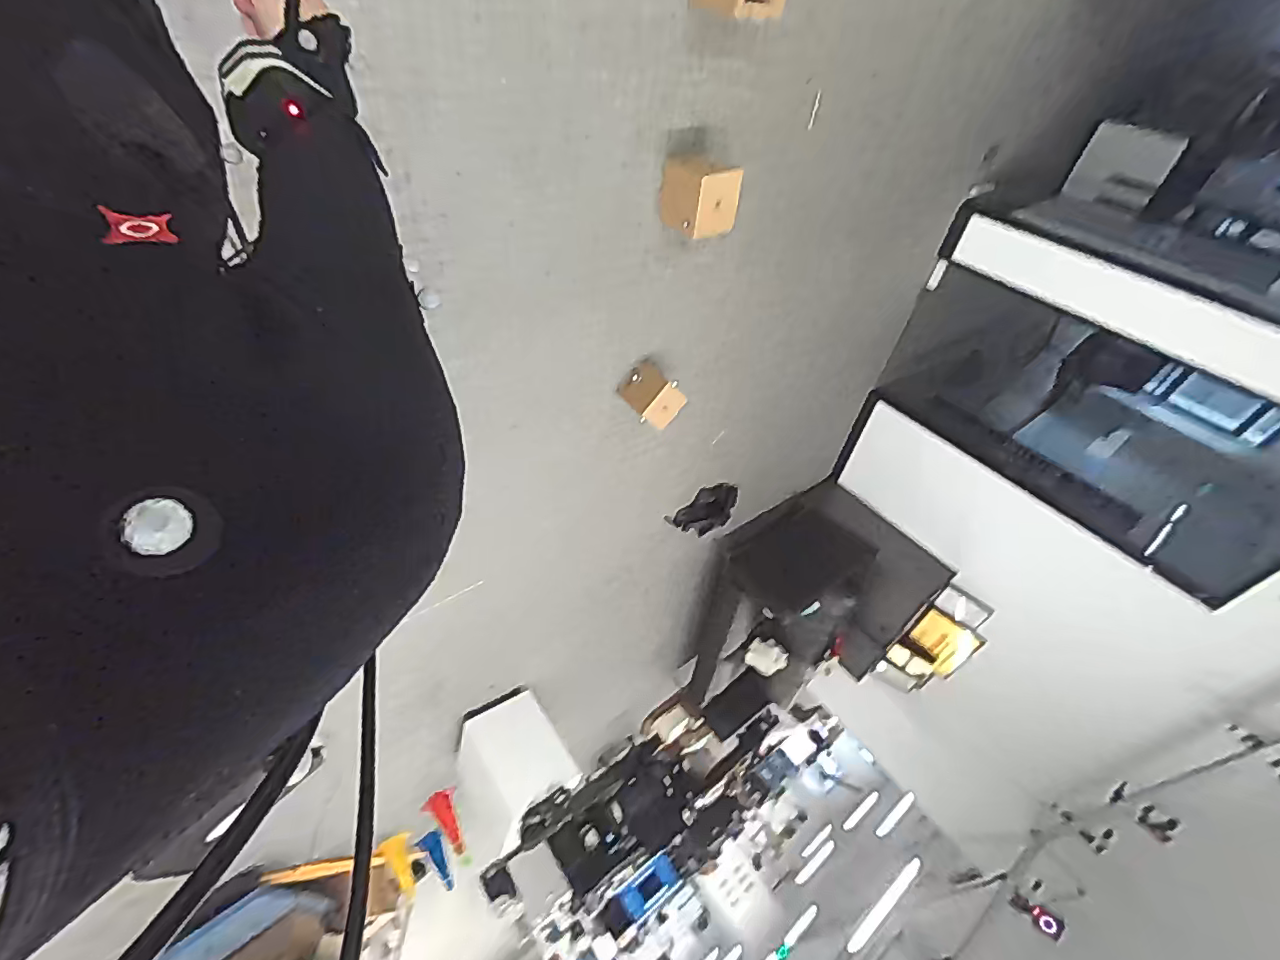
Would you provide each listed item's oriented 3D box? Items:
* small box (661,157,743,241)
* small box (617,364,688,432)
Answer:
[{"bbox_3d":[0.178,-0.844,1.610,0.168,0.176,0.179,-27,145,-27],"label":"small box"},{"bbox_3d":[0.047,-0.317,2.078,0.168,0.176,0.179,-50,148,7],"label":"small box"}]
